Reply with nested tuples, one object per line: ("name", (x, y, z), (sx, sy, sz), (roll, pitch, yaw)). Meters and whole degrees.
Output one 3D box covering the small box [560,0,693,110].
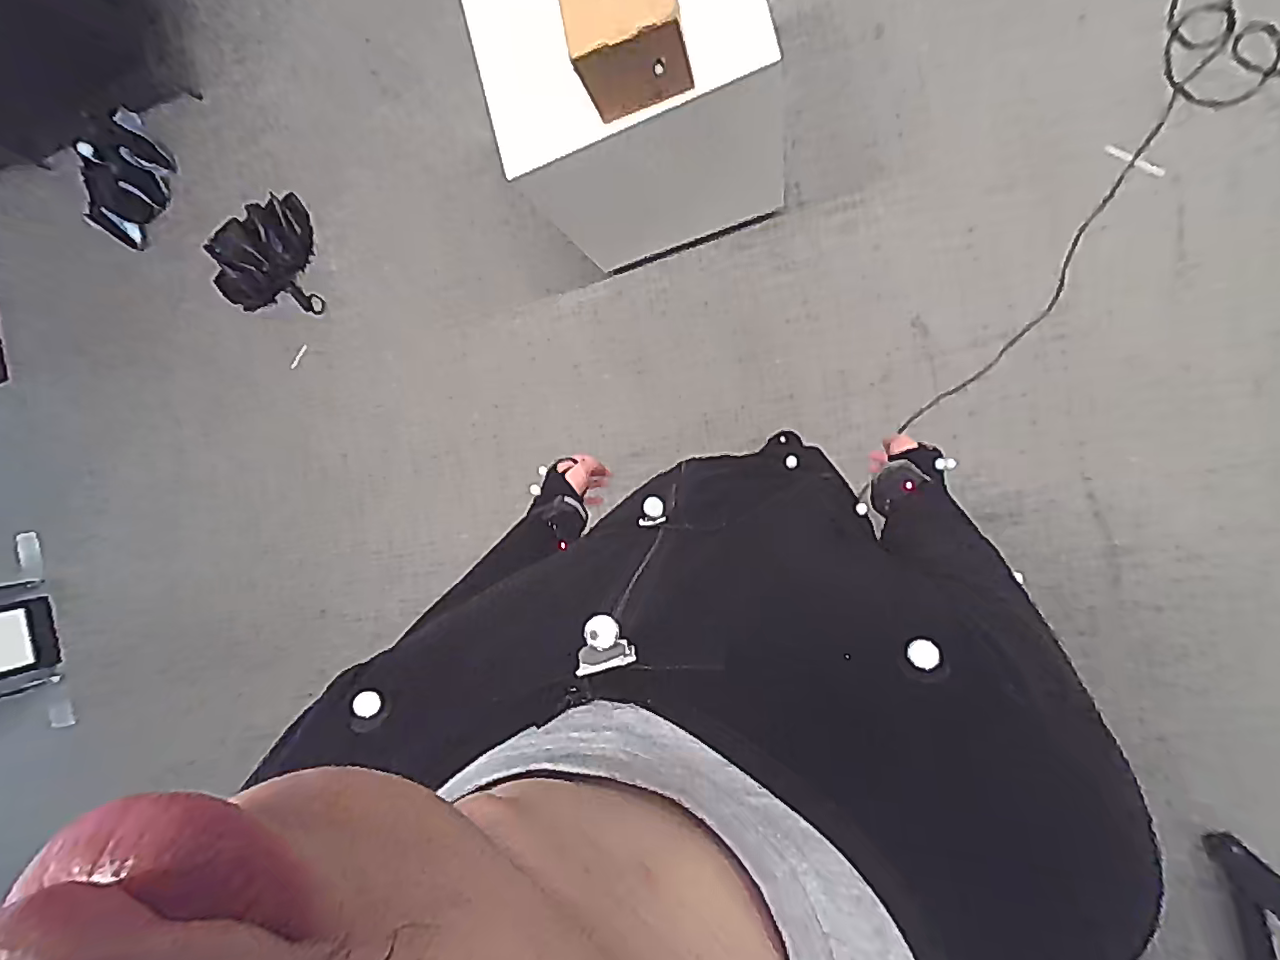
("small box", (-0.020, -0.723, 0.845), (0.168, 0.176, 0.179), (-11, 88, 14))
